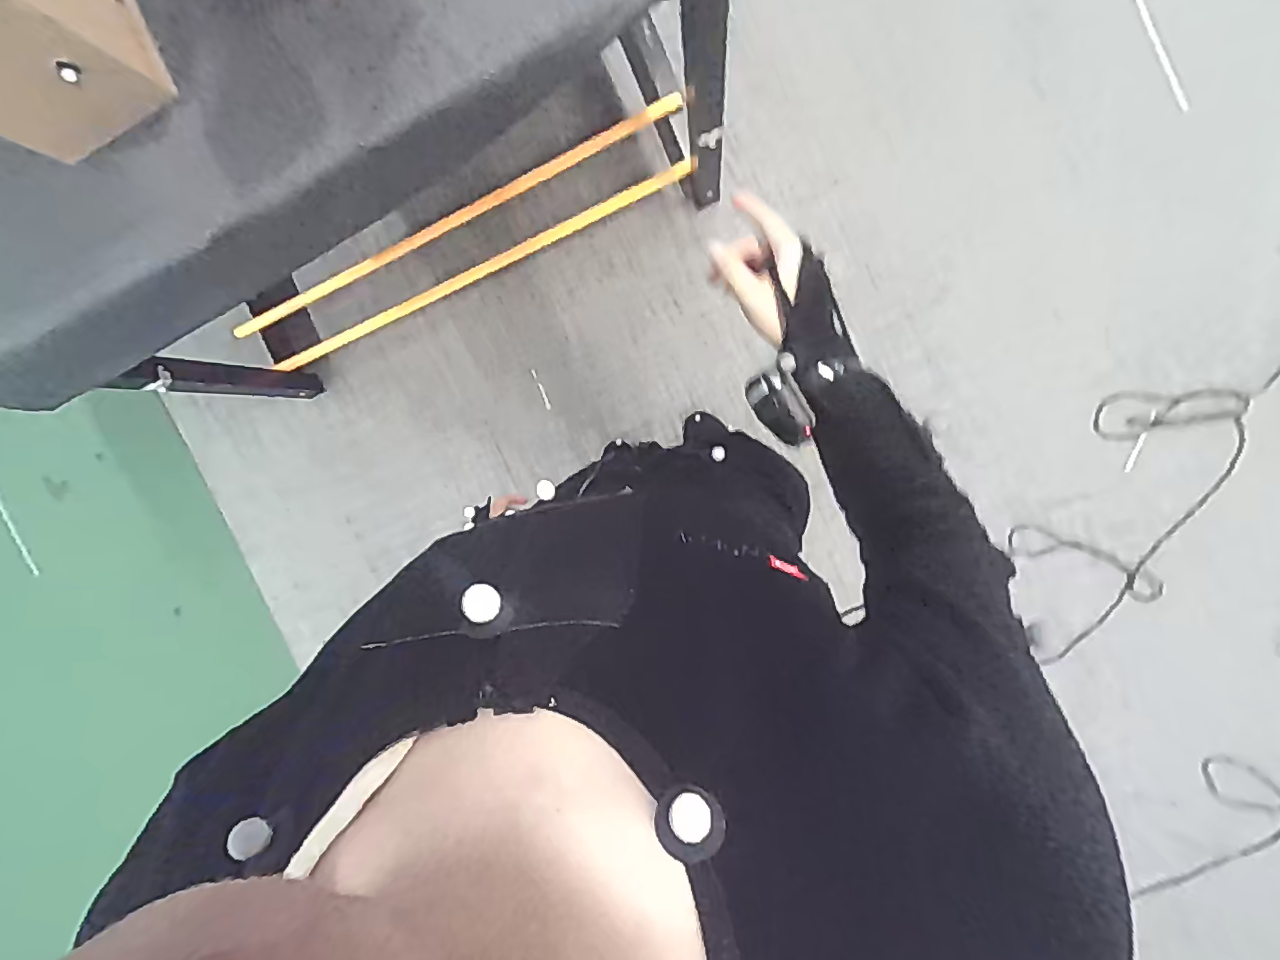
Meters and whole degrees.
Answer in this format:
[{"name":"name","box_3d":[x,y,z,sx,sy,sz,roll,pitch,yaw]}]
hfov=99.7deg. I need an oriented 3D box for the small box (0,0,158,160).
[{"name":"small box","box_3d":[-0.670,-0.488,0.572,0.179,0.176,0.168,-24,91,9]}]
